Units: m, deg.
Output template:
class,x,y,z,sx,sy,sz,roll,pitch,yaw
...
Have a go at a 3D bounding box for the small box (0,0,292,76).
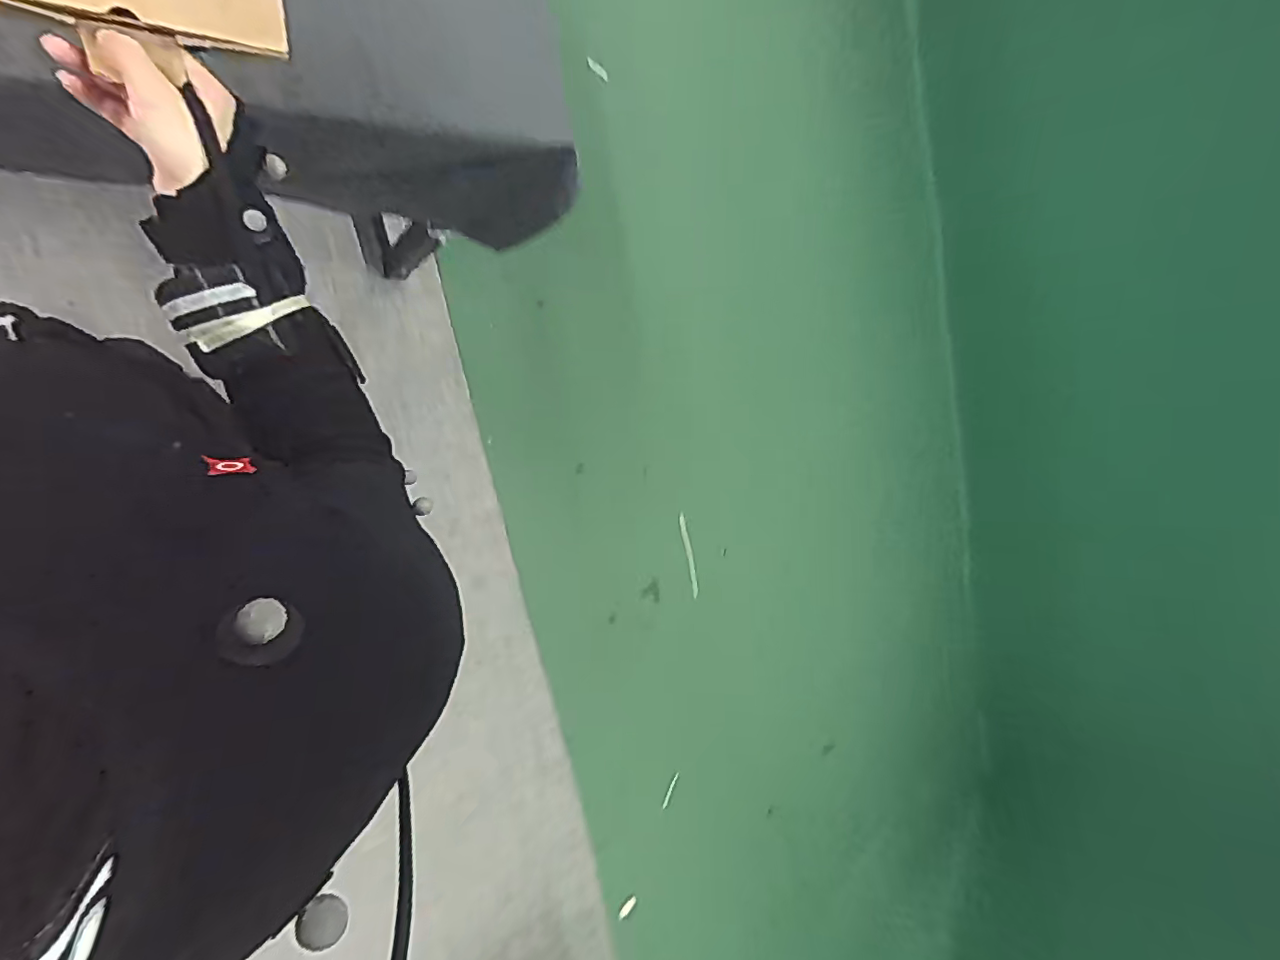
class,x,y,z,sx,sy,sz,roll,pitch,yaw
small box,-0.329,-0.363,0.319,0.168,0.176,0.179,-17,129,-37
